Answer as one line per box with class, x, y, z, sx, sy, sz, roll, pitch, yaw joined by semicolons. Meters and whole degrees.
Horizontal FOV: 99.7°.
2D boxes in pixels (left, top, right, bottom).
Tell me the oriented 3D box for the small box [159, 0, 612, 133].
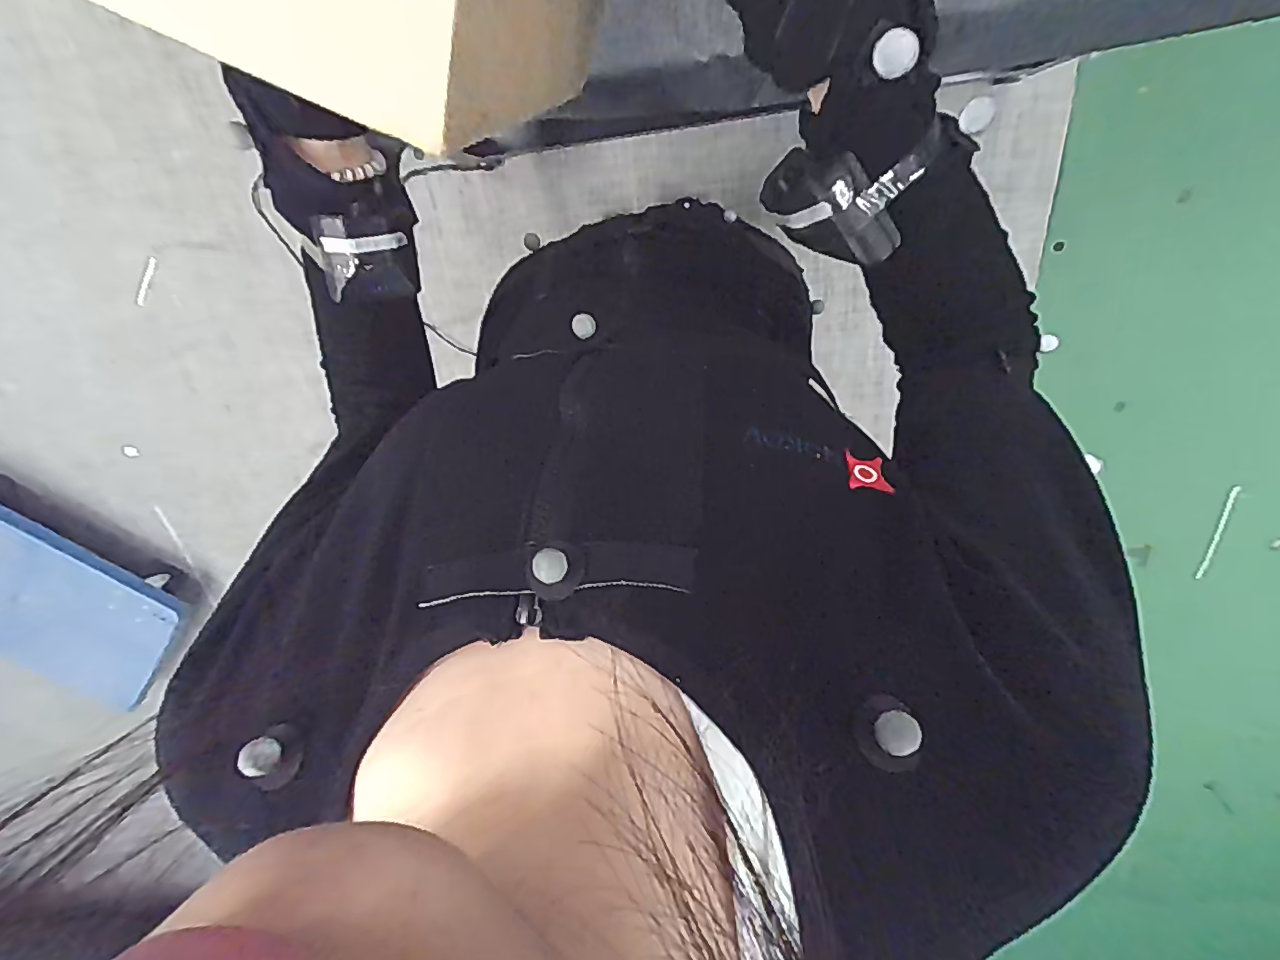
small box;-0.094;-0.250;0.176;0.179;0.176;0.168;23;133;-6
